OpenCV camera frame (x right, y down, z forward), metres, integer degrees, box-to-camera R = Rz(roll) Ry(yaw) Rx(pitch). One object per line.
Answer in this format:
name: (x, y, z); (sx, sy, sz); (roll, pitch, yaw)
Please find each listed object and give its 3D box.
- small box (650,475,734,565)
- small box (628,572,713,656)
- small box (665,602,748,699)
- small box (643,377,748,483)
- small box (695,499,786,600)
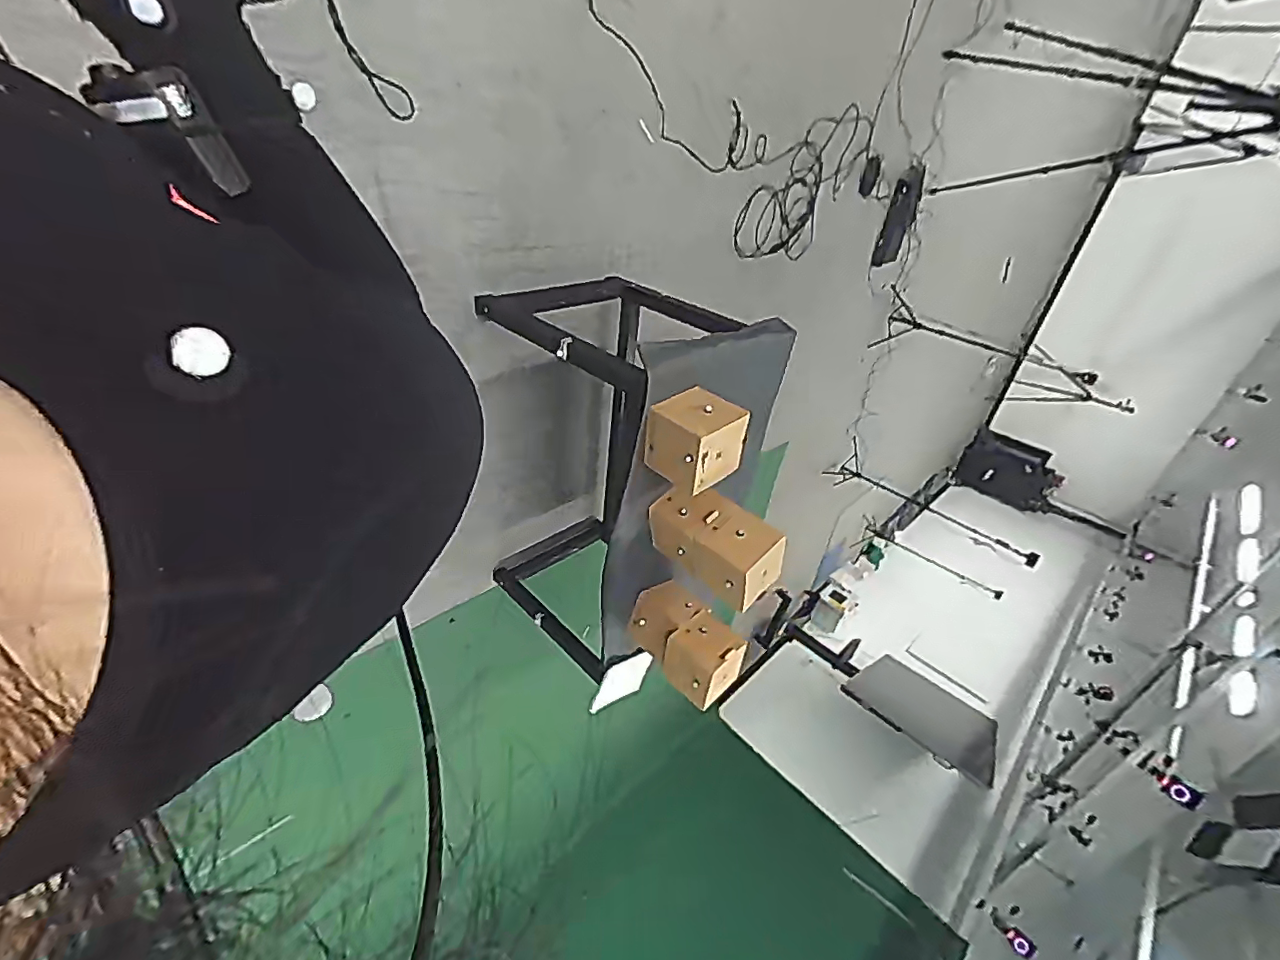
small box: (0.143, 0.095, 1.503); (0.168, 0.176, 0.179); (-38, 143, -25)
small box: (0.093, 0.410, 1.694); (0.179, 0.176, 0.168); (-9, 123, -48)
small box: (0.189, 0.495, 1.590); (0.168, 0.176, 0.179); (-27, 135, -38)
small box: (0.128, -0.127, 1.296); (0.179, 0.176, 0.168); (-30, 138, -34)
small box: (0.256, 0.171, 1.410); (0.168, 0.176, 0.179); (-36, 141, -28)
